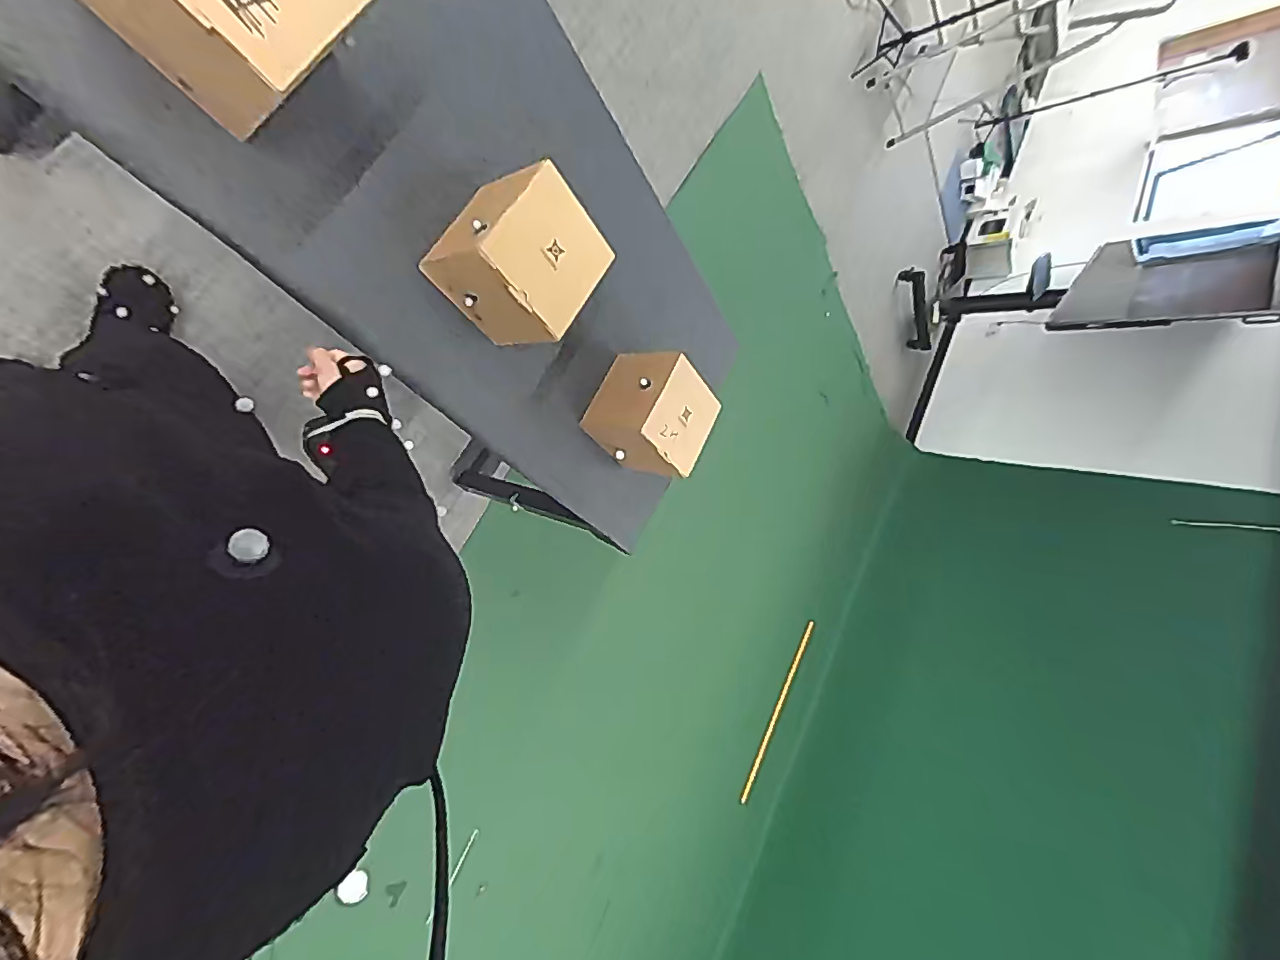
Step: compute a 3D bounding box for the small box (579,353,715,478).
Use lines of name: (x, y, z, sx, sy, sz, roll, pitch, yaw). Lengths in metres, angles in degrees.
small box: (0.013, -0.128, 1.053, 0.168, 0.176, 0.179, 43, 67, -42)

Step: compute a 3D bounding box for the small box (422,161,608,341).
small box: (-0.185, -0.328, 0.801, 0.168, 0.176, 0.179, 46, 66, -43)
